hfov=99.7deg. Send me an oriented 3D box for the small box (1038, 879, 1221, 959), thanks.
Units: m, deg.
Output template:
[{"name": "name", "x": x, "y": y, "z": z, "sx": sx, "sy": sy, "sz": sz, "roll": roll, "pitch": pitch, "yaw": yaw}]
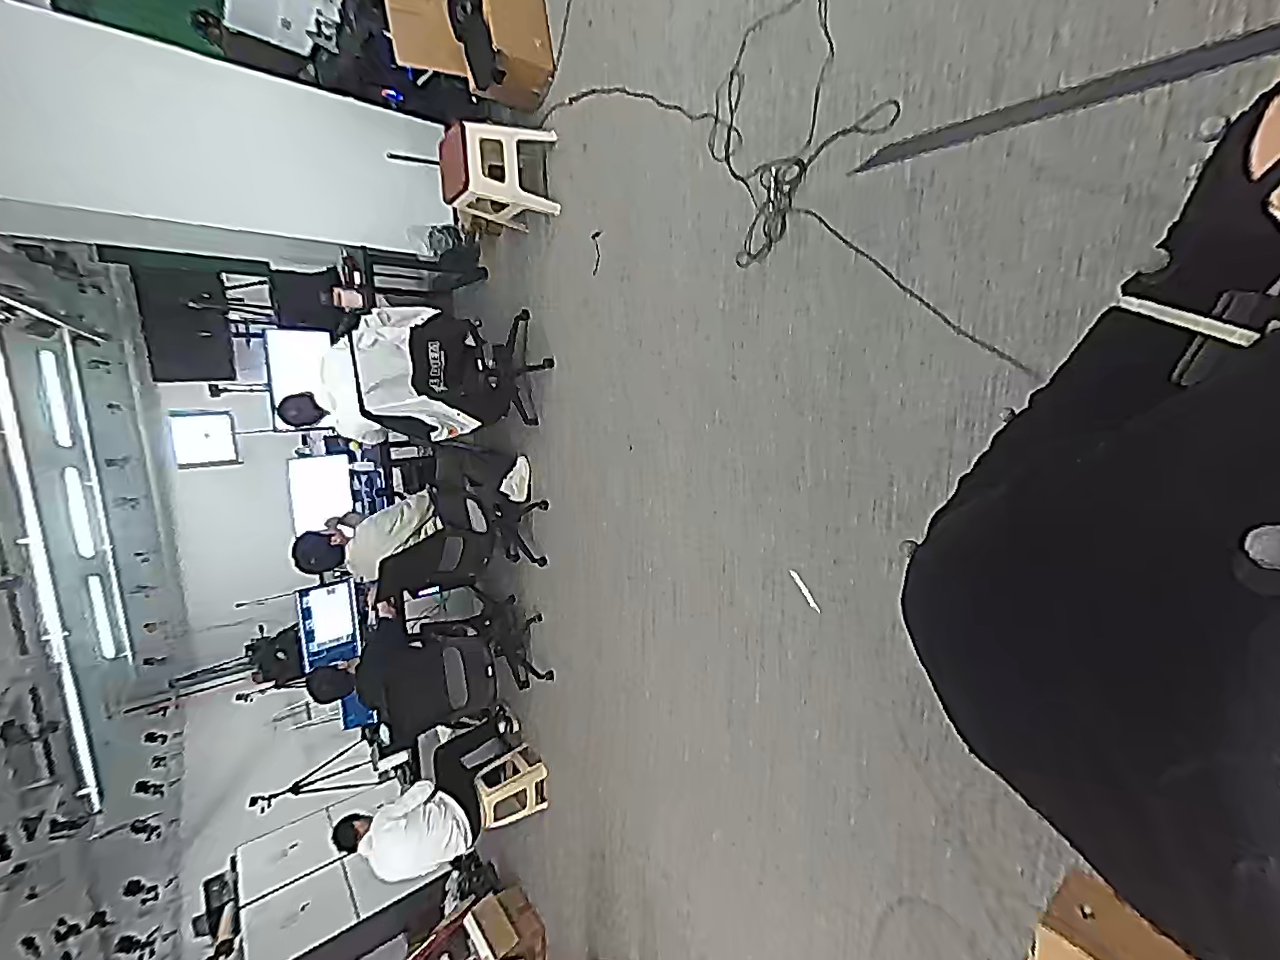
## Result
[{"name": "small box", "x": 0.738, "y": 0.762, "z": 0.826, "sx": 0.179, "sy": 0.176, "sz": 0.168, "roll": 12, "pitch": 105, "yaw": 52}]
